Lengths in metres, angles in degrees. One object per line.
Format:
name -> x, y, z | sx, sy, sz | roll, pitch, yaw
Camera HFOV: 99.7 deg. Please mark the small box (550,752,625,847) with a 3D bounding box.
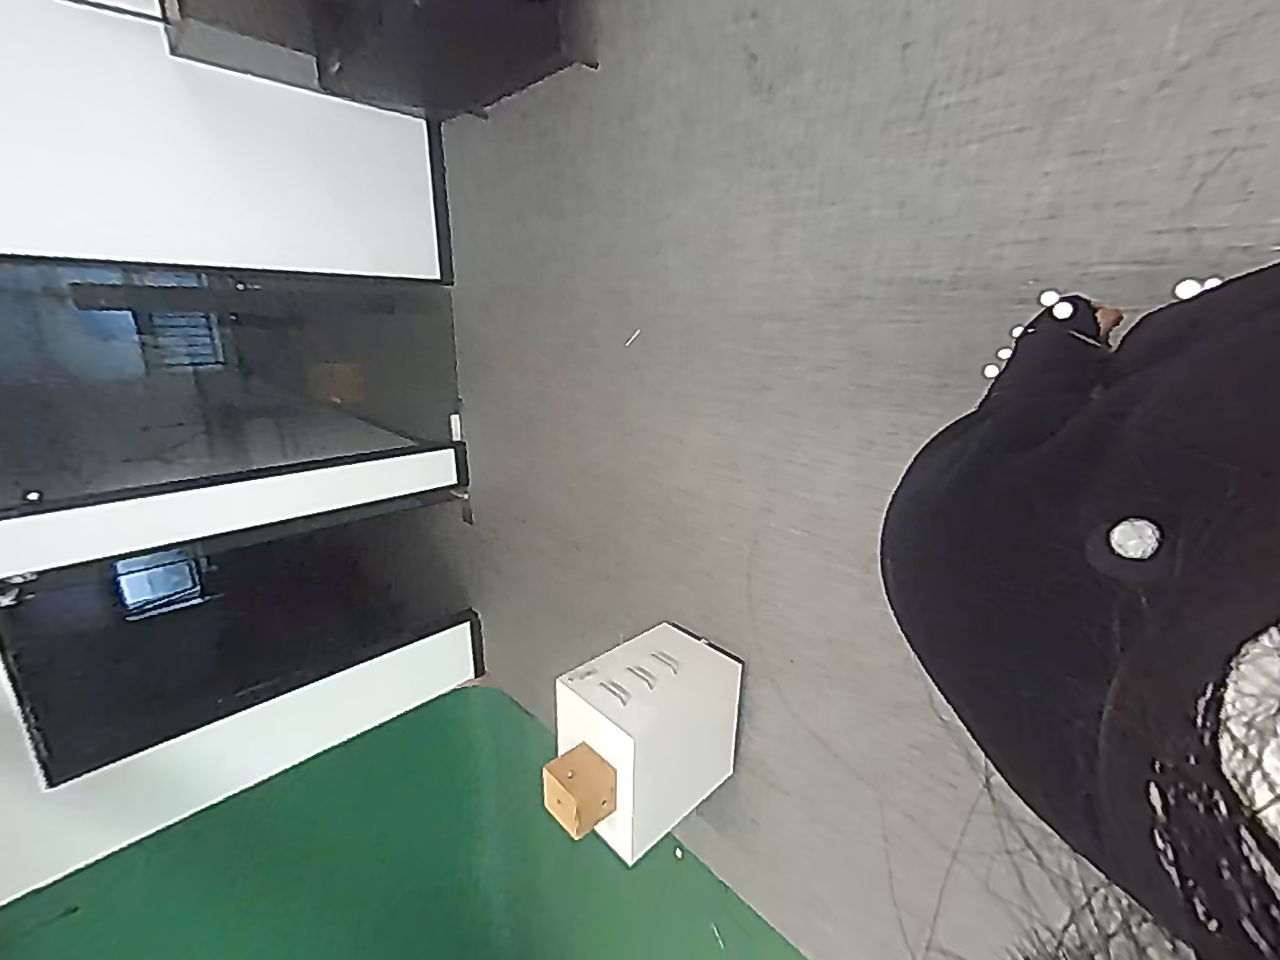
small box -> -0.168, 1.005, 1.726 | 0.179, 0.176, 0.168 | 17, 113, 45
